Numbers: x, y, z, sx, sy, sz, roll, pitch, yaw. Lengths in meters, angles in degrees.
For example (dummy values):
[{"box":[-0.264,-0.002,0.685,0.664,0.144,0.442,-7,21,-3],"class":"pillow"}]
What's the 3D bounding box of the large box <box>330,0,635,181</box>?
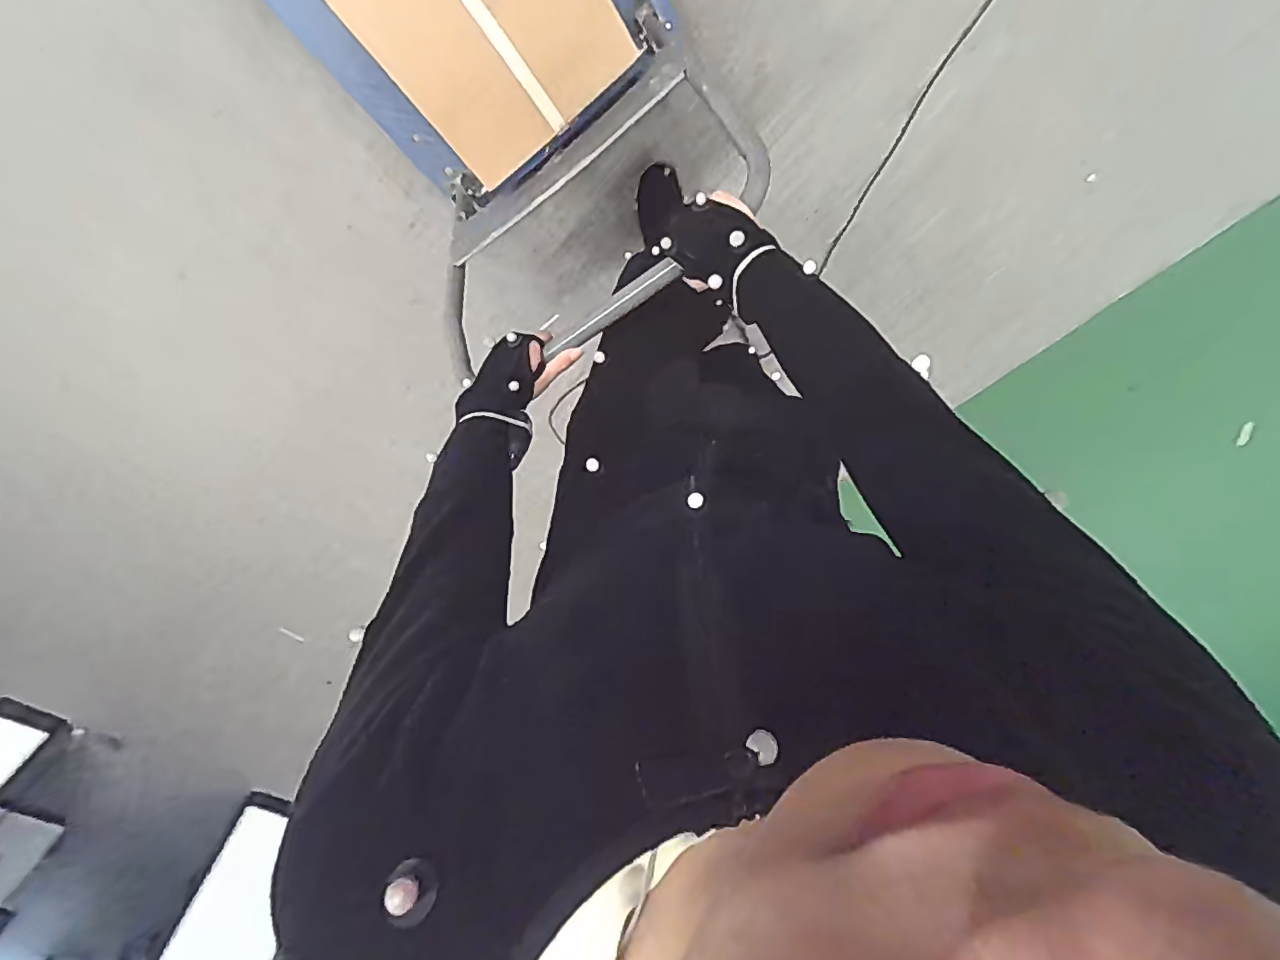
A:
[{"box":[-0.257,-0.782,0.842,0.320,0.320,0.408,-30,133,20],"class":"large box"}]
